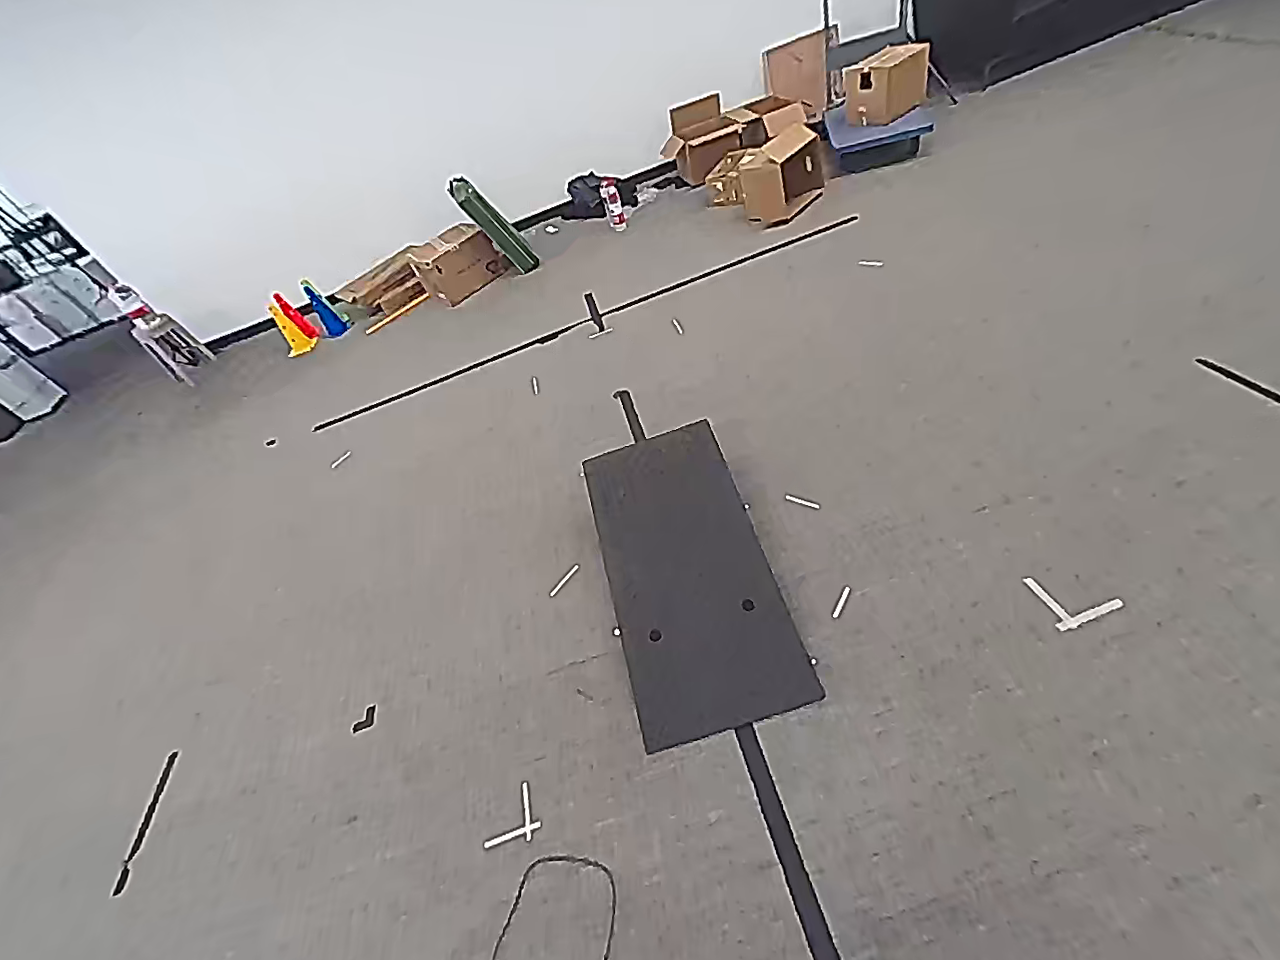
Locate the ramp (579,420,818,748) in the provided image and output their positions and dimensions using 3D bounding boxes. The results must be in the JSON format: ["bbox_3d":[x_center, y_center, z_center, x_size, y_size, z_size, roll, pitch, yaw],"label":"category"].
[{"bbox_3d":[0.125,0.246,1.700,0.509,0.206,0.991,-20,45,1],"label":"ramp"}]
